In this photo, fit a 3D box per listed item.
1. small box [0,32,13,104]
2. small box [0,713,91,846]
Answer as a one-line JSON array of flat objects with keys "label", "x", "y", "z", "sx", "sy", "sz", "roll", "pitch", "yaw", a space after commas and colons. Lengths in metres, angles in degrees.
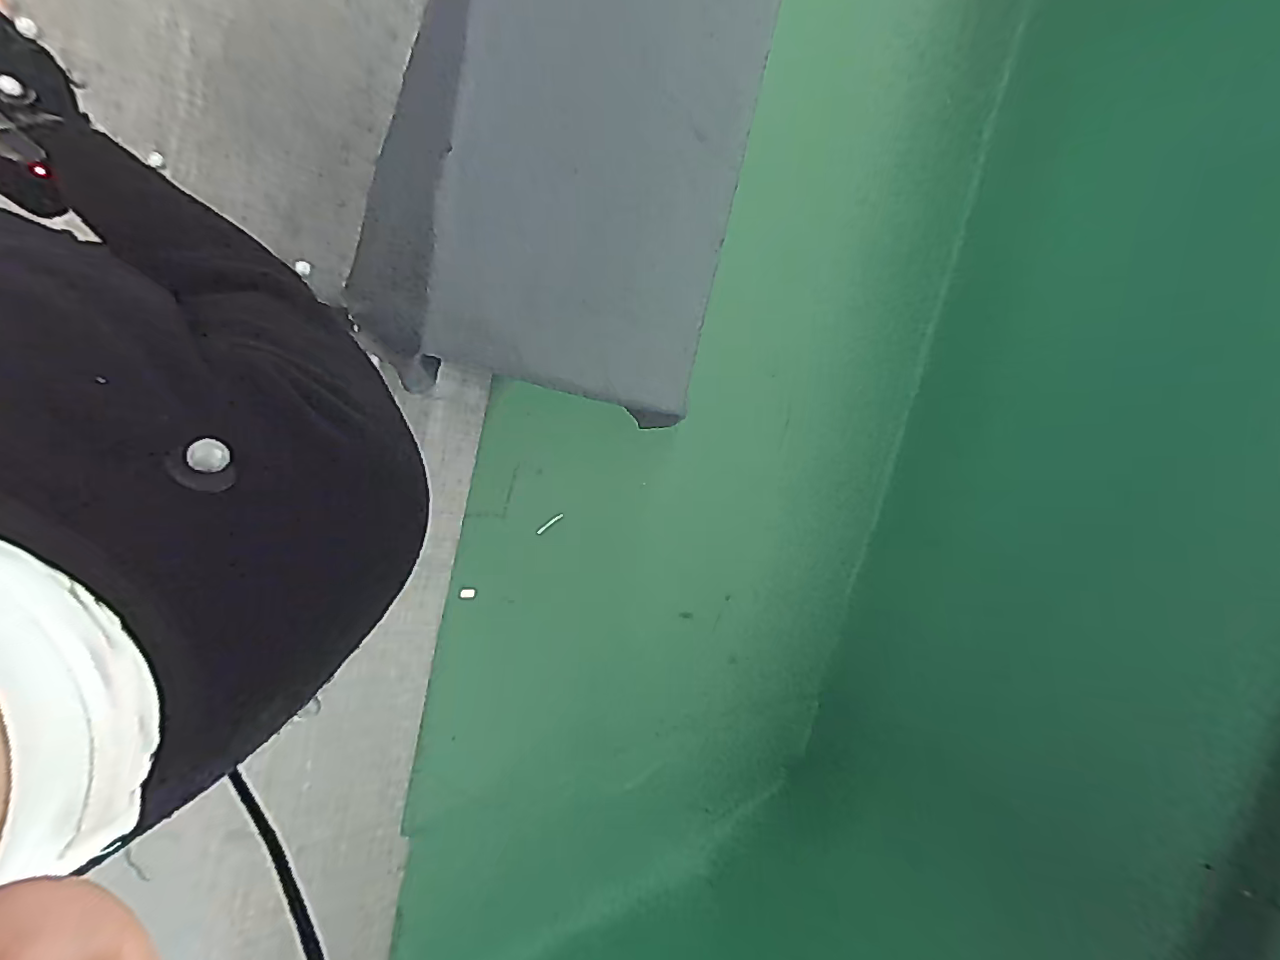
[{"label": "small box", "x": -0.652, "y": -0.424, "z": 0.429, "sx": 0.179, "sy": 0.176, "sz": 0.168, "roll": -14, "pitch": 112, "yaw": -39}, {"label": "small box", "x": -1.287, "y": 0.629, "z": 1.140, "sx": 0.168, "sy": 0.176, "sz": 0.179, "roll": 9, "pitch": 98, "yaw": -47}]
